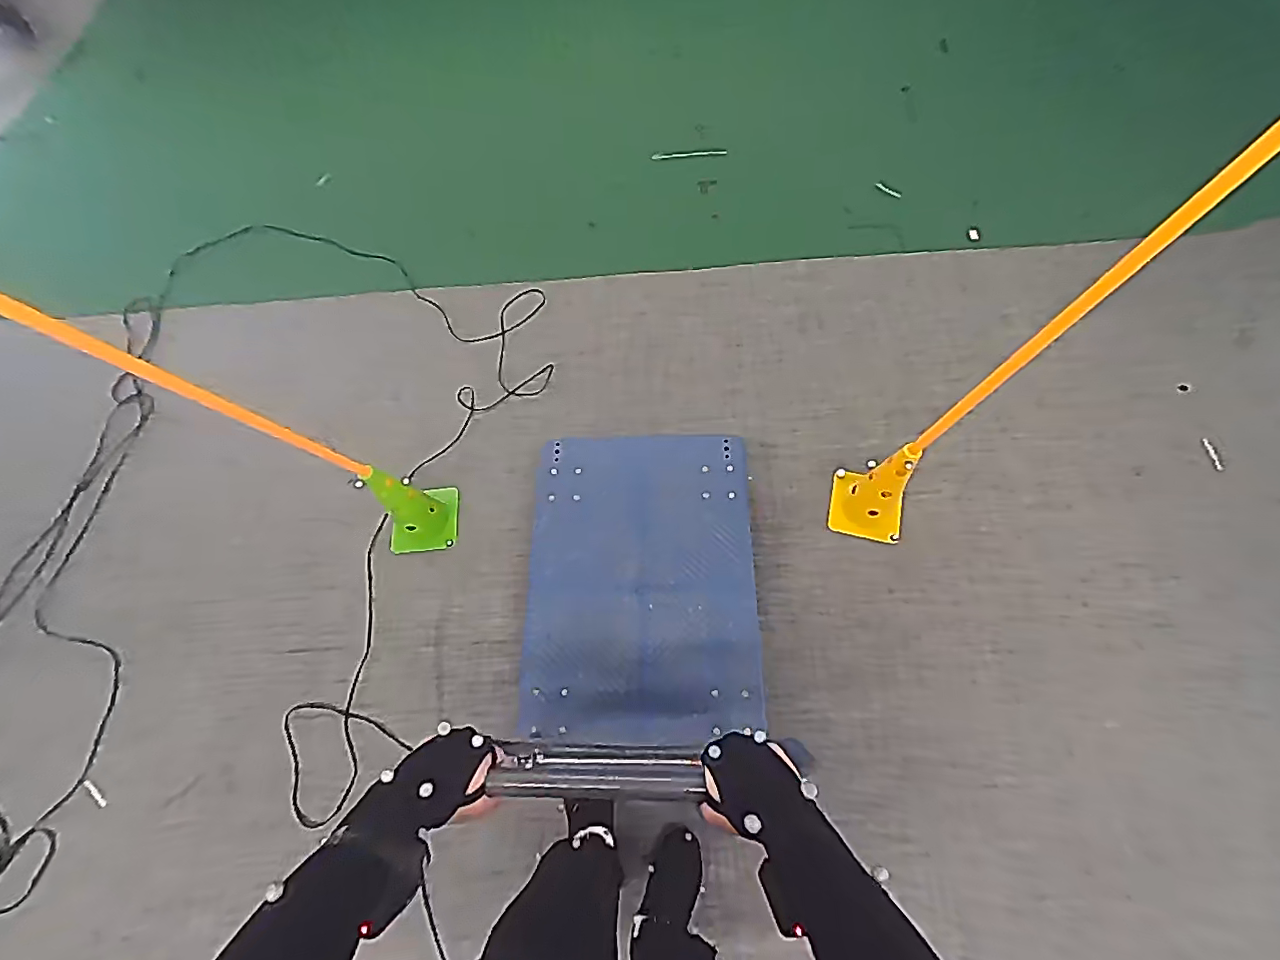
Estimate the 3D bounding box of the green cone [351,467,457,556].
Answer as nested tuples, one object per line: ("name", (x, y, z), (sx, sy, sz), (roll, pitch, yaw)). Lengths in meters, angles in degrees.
("green cone", (-0.678, 0.055, 1.502), (0.202, 0.368, 0.200), (-7, 65, 3))
